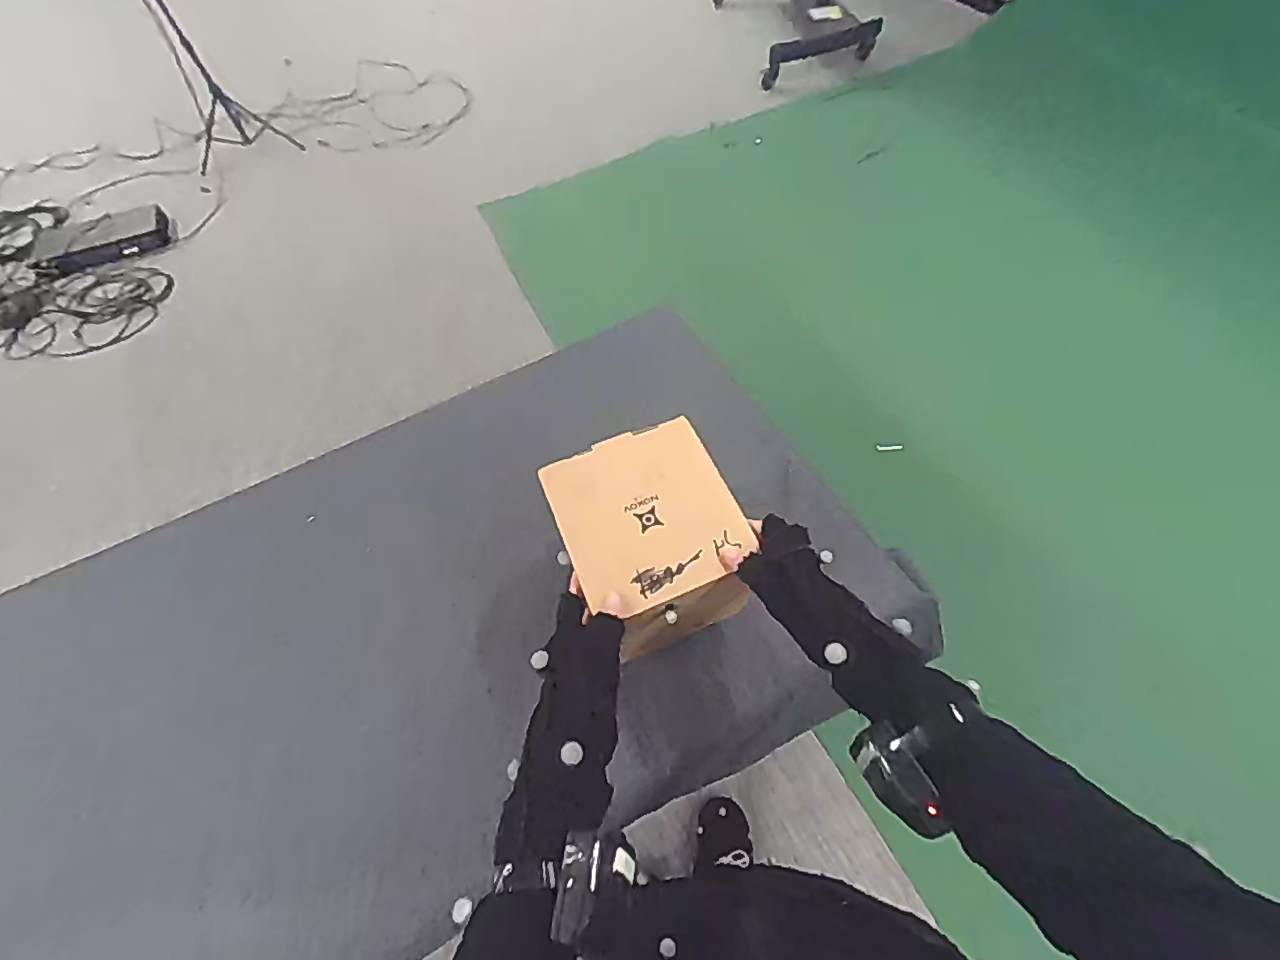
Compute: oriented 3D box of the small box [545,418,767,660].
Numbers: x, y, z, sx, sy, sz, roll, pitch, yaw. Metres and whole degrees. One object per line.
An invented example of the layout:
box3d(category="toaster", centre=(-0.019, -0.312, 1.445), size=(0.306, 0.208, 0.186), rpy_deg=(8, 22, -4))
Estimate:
box3d(category="small box", centre=(0.012, 0.069, 0.583), size=(0.168, 0.176, 0.179), rpy_deg=(-21, 62, -8))
